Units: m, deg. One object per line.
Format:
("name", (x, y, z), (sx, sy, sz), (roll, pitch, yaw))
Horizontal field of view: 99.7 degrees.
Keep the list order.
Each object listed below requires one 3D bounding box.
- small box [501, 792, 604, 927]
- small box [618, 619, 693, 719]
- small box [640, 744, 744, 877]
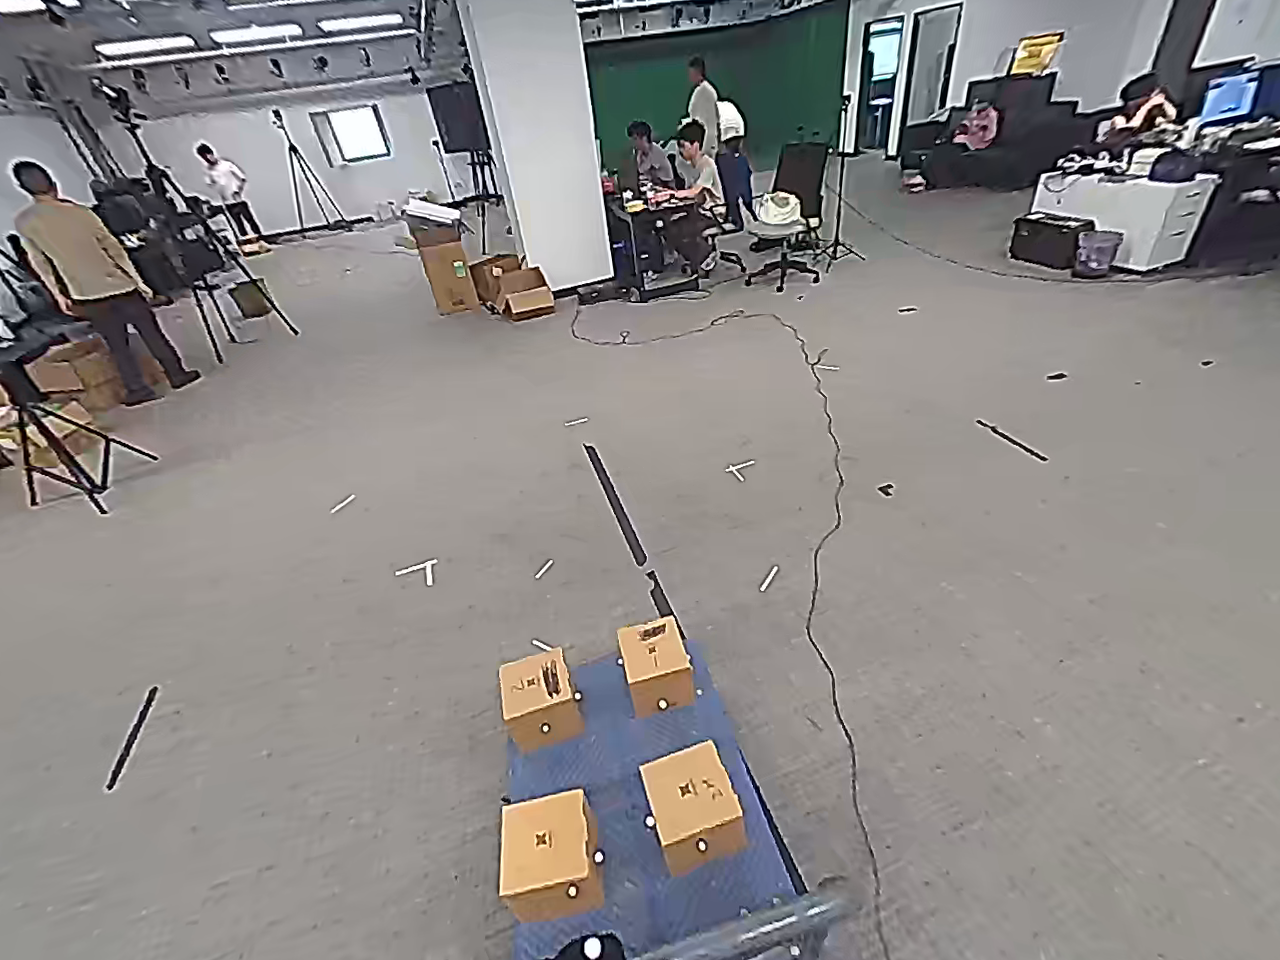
("small box", (-0.182, 0.797, 1.133), (0.179, 0.176, 0.168), (-11, 35, -5))
("small box", (0.043, 0.515, 1.476), (0.168, 0.176, 0.179), (-13, 36, -6))
("small box", (0.115, 0.718, 1.174), (0.179, 0.176, 0.168), (-16, 36, -9))
